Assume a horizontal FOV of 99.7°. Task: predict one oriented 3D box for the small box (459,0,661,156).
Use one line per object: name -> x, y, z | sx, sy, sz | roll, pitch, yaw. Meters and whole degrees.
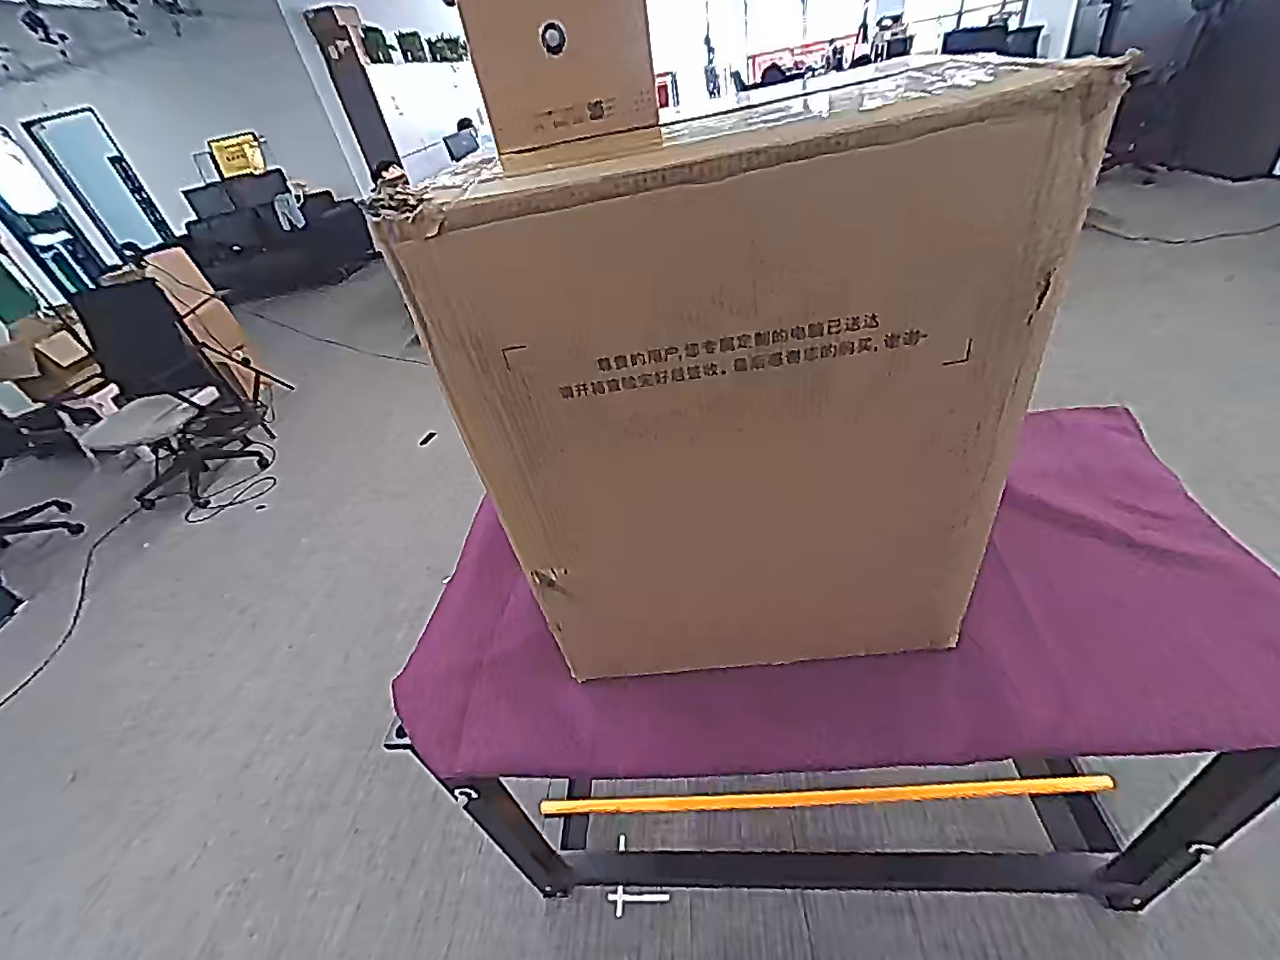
small box -> -0.076, -0.444, 0.551 | 0.168, 0.176, 0.179 | -10, 37, 1
